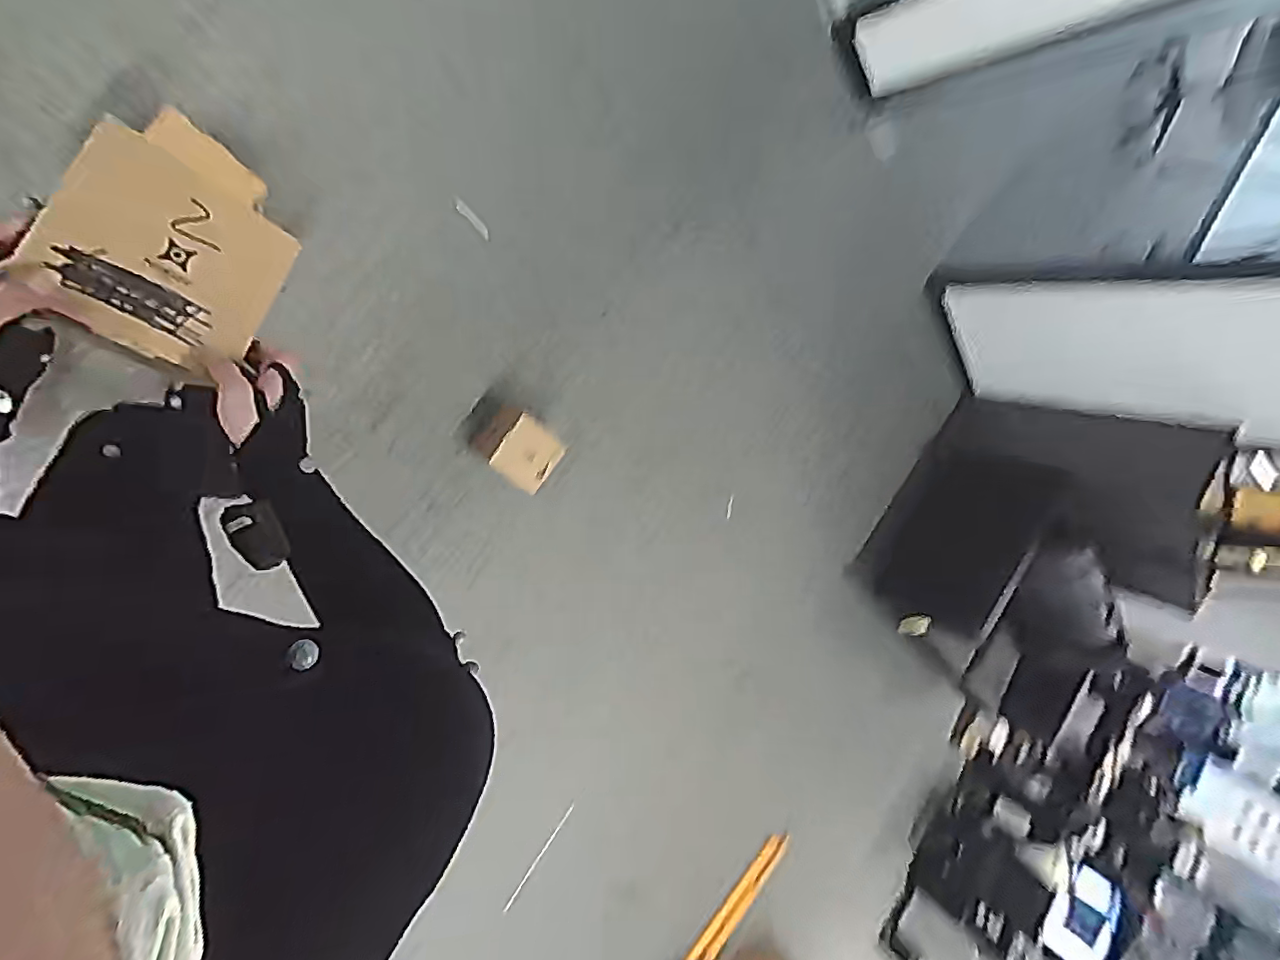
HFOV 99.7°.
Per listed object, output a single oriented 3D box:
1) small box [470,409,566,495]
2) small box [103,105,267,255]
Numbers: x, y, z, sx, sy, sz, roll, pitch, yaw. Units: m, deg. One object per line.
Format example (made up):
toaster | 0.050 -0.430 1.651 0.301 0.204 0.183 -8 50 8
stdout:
small box | -0.351 -0.086 1.538 0.179 0.176 0.168 43 79 -37
small box | -0.842 -0.551 1.021 0.168 0.176 0.179 41 78 -37
